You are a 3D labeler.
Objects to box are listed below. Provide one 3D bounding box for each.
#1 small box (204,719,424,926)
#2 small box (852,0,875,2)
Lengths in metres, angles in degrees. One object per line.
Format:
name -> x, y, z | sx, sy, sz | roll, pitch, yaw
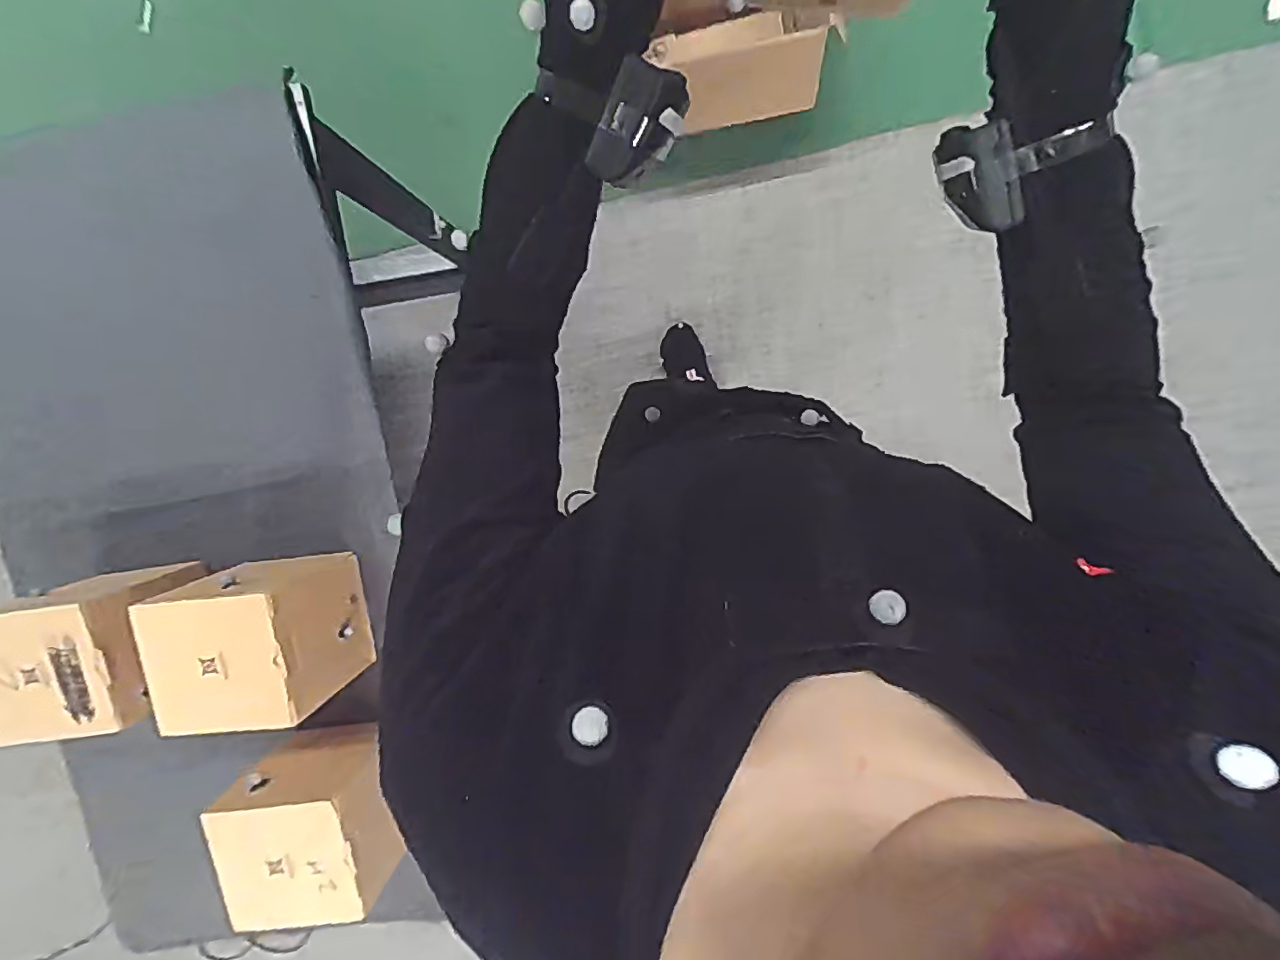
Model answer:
small box -> -0.424, 0.450, 0.732 | 0.179, 0.176, 0.168 | -9, 97, 4
small box -> 0.123, -0.434, 0.326 | 0.168, 0.176, 0.179 | 2, 109, -2
